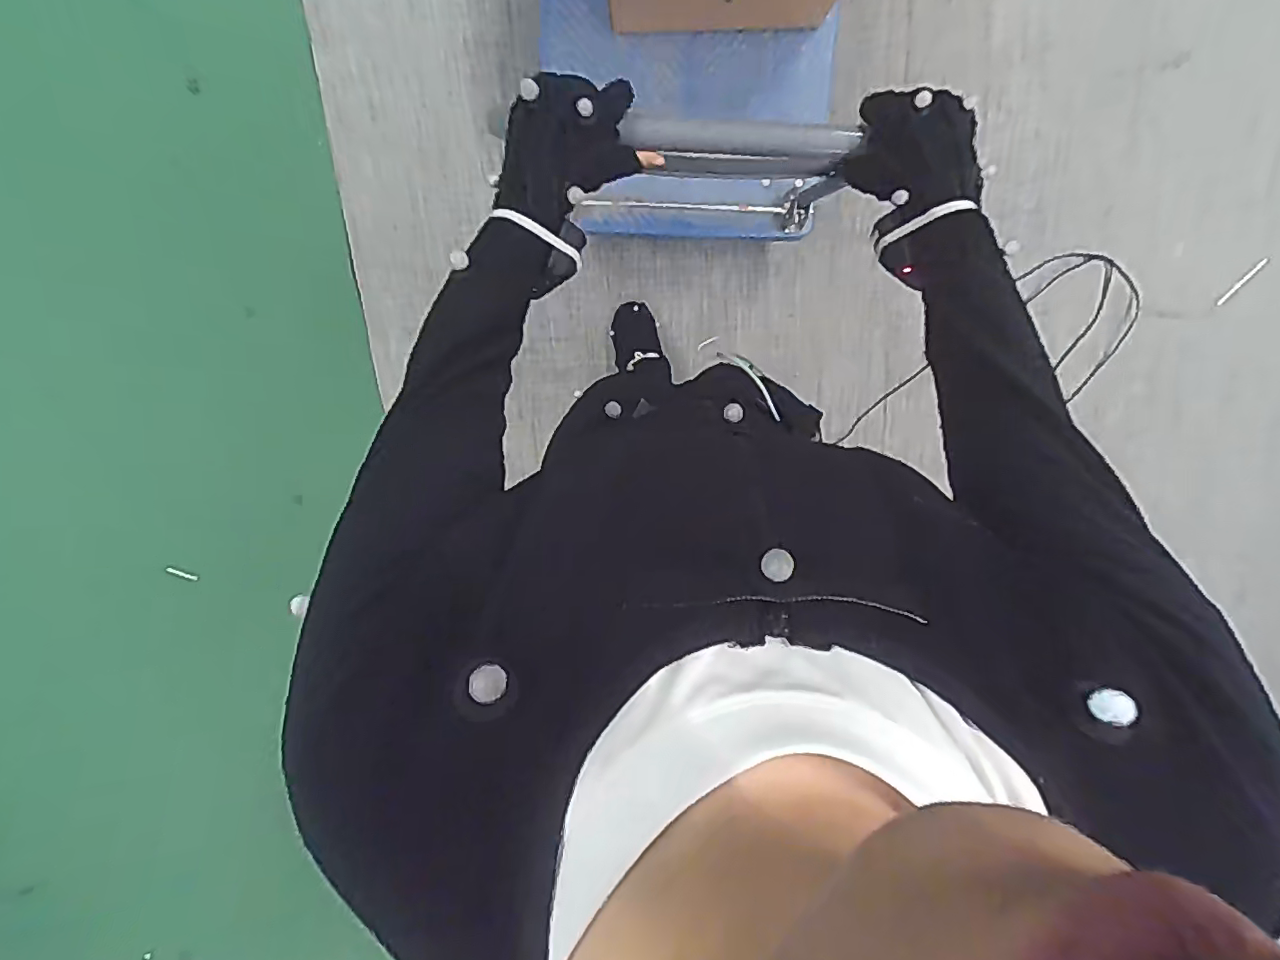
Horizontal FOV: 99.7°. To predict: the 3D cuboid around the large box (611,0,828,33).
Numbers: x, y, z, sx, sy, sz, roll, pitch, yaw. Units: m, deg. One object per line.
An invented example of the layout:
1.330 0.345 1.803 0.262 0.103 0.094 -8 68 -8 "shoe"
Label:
0.142 -0.984 0.873 0.408 0.320 0.320 -2 106 1 "large box"
